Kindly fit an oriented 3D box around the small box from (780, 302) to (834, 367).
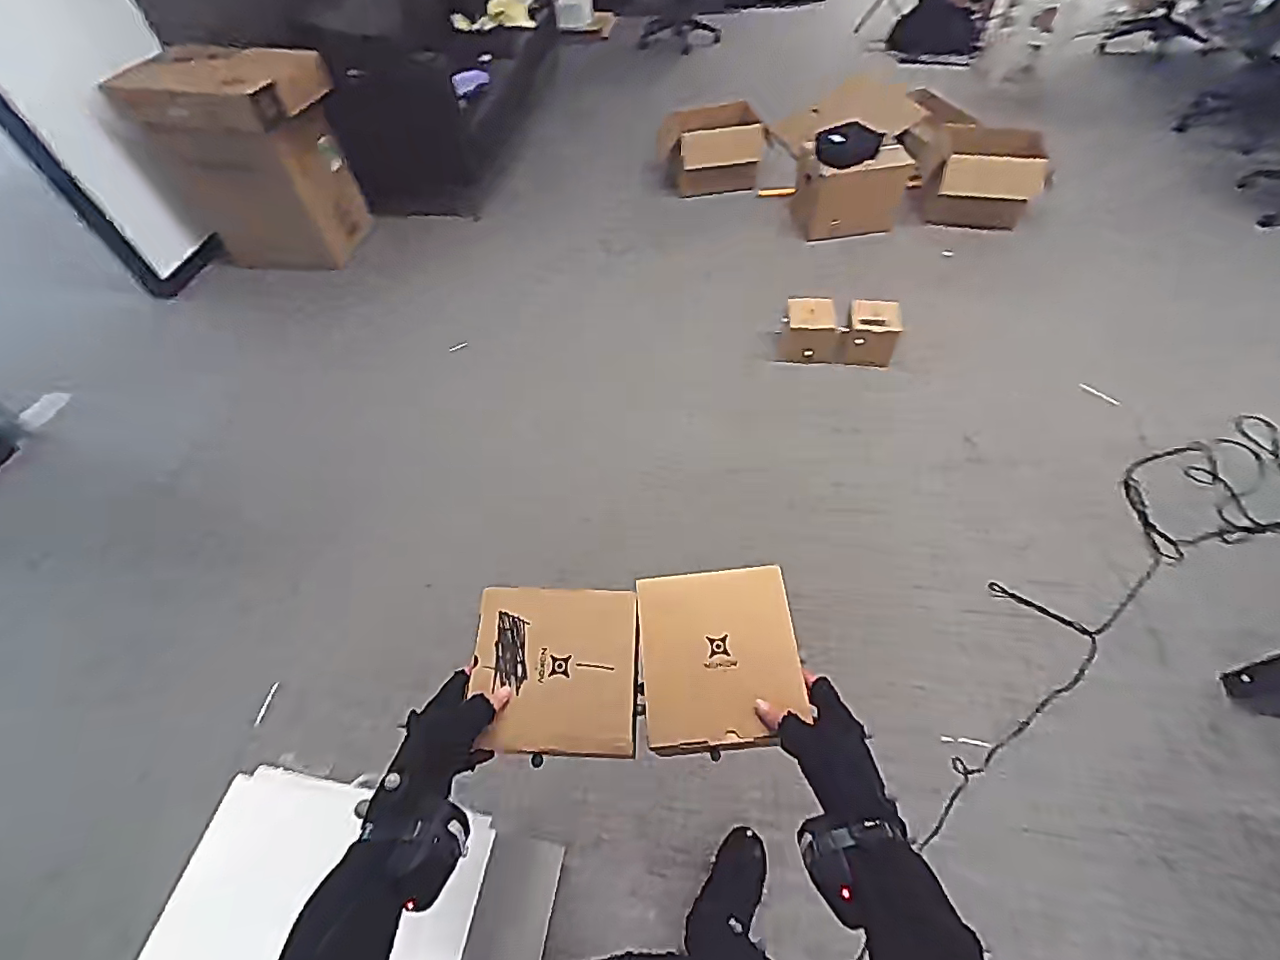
[{"bbox_3d":[0.631,-0.556,2.063,0.168,0.176,0.179,2,54,6],"label":"small box"}]
